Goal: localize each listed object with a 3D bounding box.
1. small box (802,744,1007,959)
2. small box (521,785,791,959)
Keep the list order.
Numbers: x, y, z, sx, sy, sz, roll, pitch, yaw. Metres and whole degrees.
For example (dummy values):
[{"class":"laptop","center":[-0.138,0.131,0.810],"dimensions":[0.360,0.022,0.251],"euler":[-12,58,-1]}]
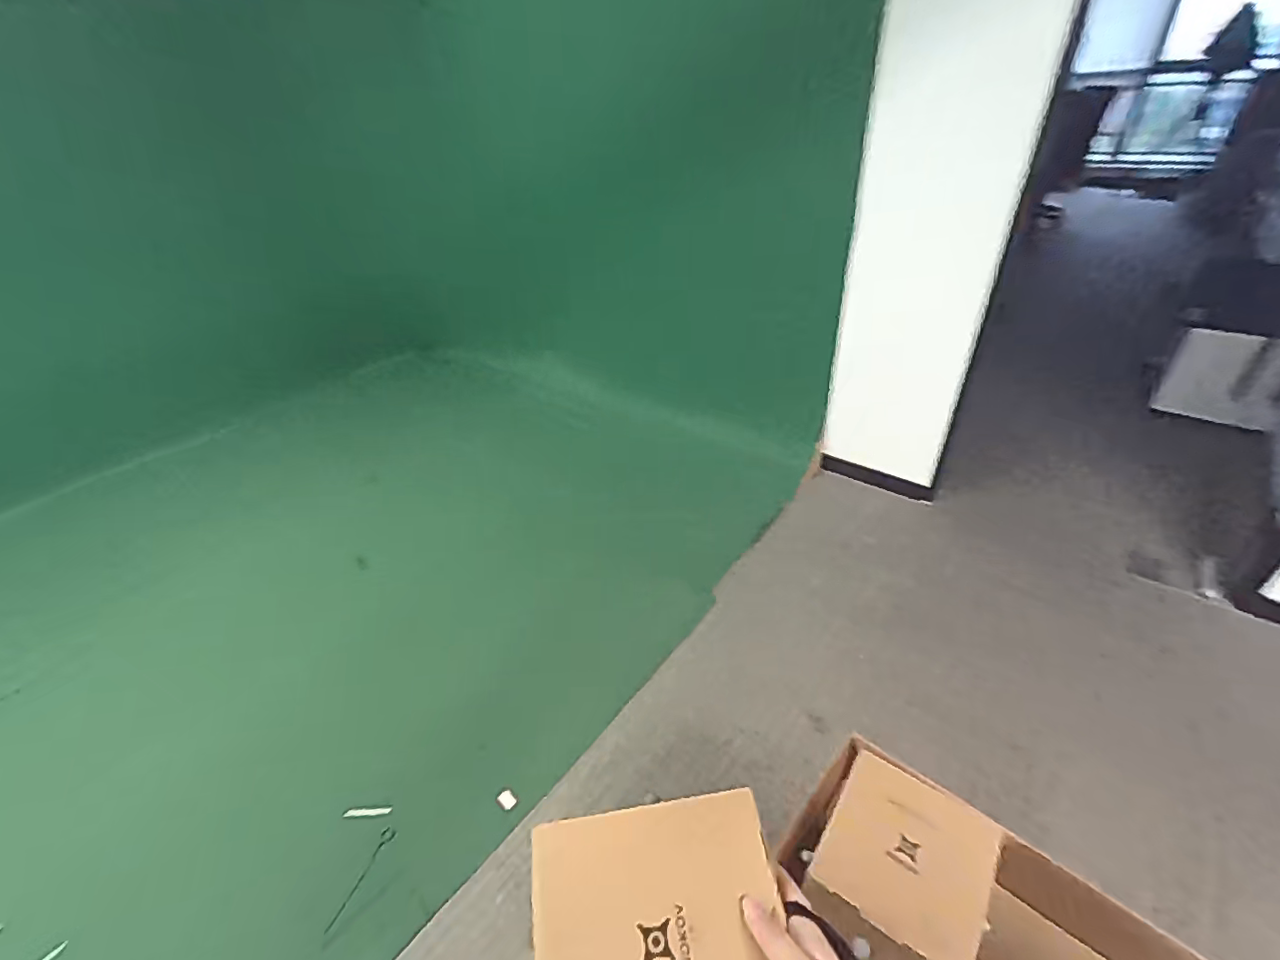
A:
[{"class":"small box","center":[0.311,0.477,0.660],"dimensions":[0.168,0.176,0.179],"euler":[23,46,31]},{"class":"small box","center":[0.011,0.365,0.418],"dimensions":[0.179,0.176,0.168],"euler":[-8,46,-7]}]
